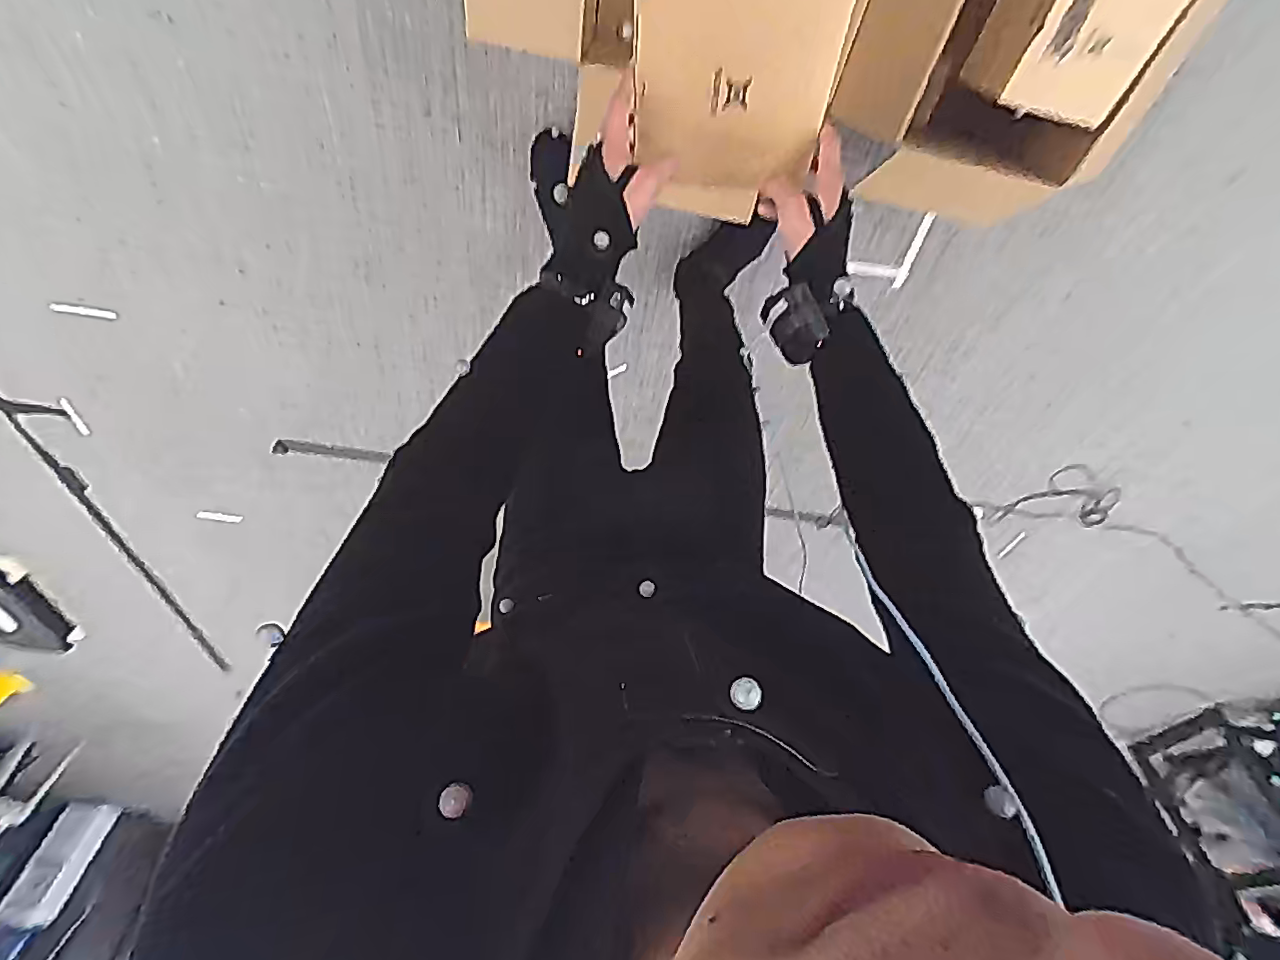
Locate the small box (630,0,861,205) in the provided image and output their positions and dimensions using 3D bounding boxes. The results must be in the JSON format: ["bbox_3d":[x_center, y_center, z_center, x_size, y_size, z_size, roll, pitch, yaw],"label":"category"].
[{"bbox_3d":[0.082,-0.392,0.521,0.179,0.176,0.168,2,143,-1],"label":"small box"}]
